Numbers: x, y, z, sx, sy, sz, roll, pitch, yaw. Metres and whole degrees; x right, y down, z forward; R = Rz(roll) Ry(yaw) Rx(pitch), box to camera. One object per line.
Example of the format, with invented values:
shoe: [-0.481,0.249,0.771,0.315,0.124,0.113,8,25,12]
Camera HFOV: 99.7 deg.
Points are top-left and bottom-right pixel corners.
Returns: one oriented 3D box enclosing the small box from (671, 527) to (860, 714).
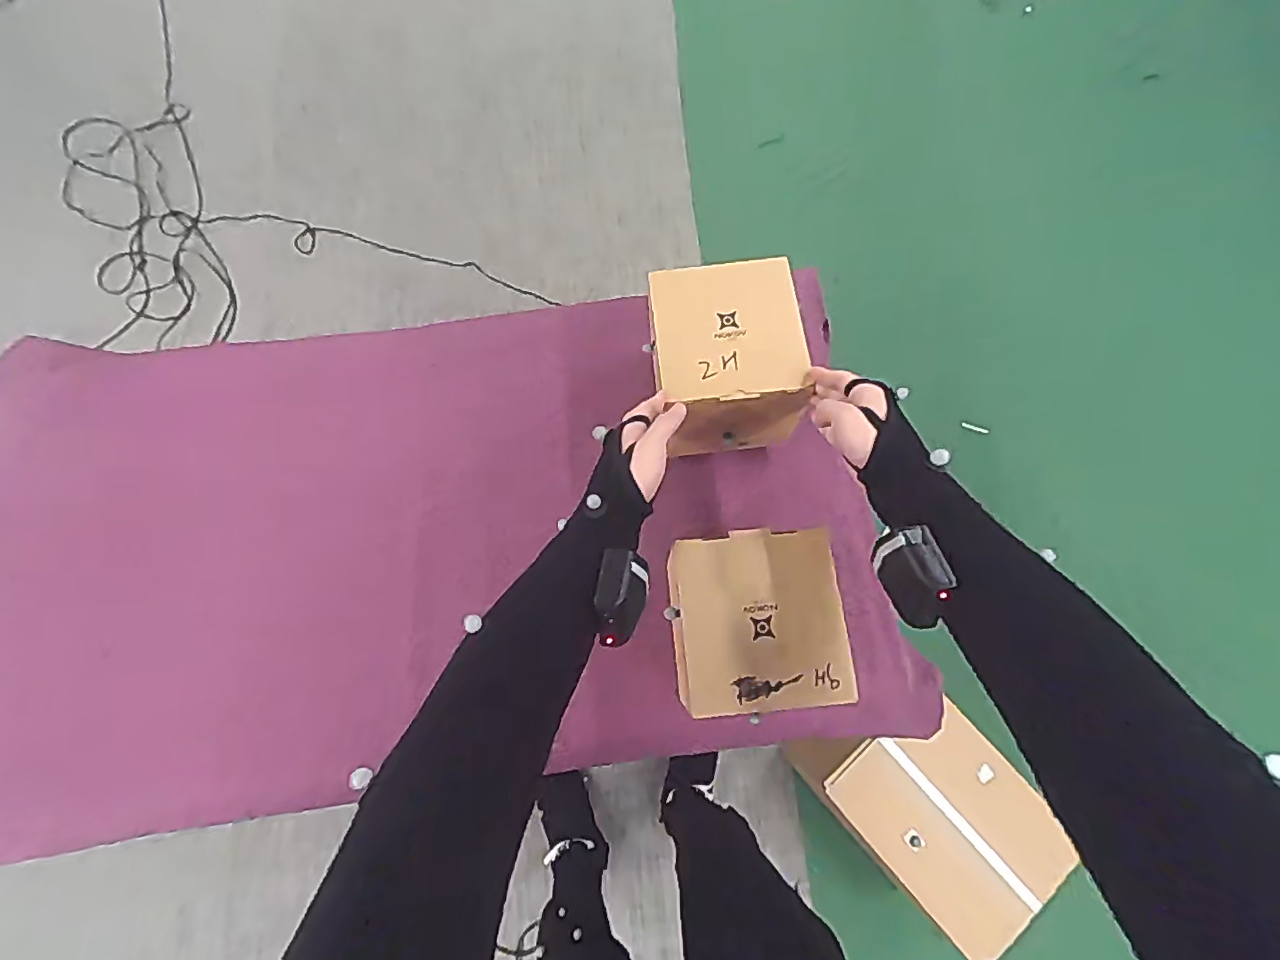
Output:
small box: [0.126,0.162,0.621,0.168,0.176,0.179,-5,73,0]

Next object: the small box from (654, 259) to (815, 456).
small box: [0.106,-0.146,0.686,0.168,0.176,0.179,-6,72,2]
